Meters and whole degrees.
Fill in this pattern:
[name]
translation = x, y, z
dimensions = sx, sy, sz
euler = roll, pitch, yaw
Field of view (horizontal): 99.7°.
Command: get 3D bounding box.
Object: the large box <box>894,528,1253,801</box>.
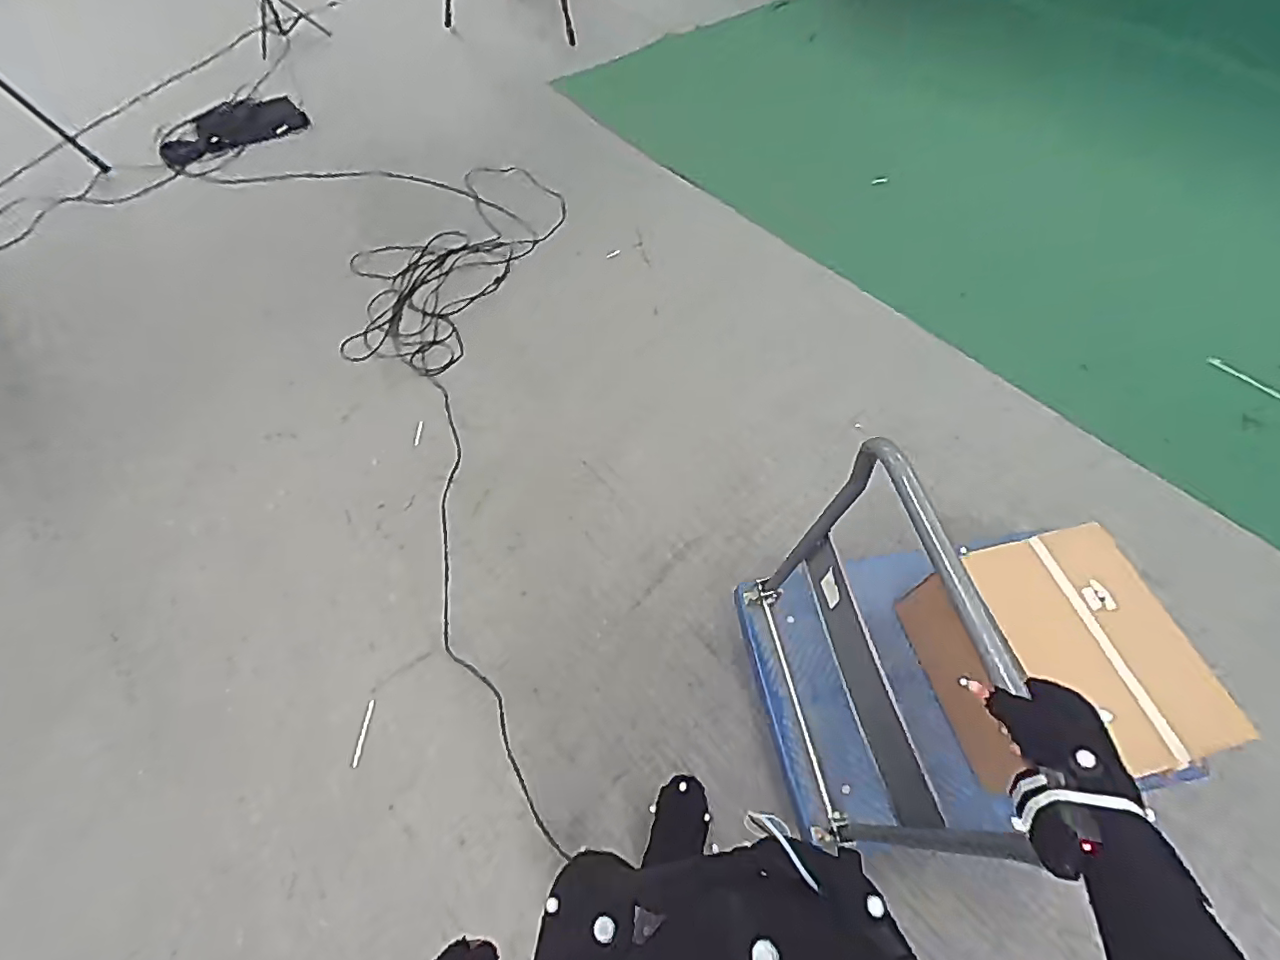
[large box]
translation = 0.789, 0.366, 1.070
dimensions = 0.320, 0.320, 0.408
euler = -11, 59, -8
